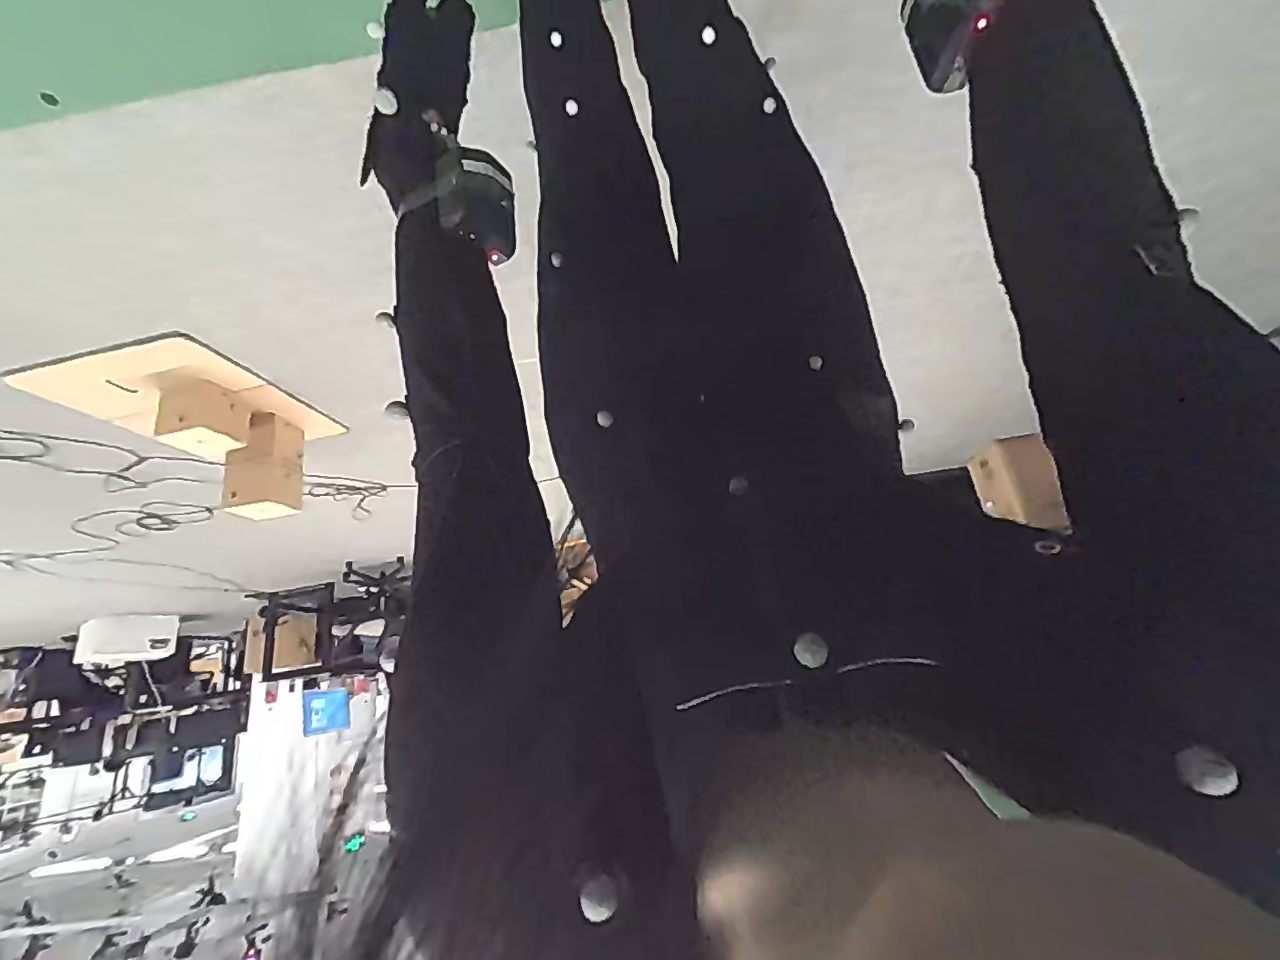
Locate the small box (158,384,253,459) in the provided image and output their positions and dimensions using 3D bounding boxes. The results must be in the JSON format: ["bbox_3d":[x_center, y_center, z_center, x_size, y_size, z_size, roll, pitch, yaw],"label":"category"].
[{"bbox_3d":[-1.399,-0.190,1.754,0.179,0.176,0.168,-12,160,7],"label":"small box"}]

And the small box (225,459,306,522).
[{"bbox_3d":[-1.327,0.039,1.930,0.179,0.176,0.168,-10,162,3],"label":"small box"}]
